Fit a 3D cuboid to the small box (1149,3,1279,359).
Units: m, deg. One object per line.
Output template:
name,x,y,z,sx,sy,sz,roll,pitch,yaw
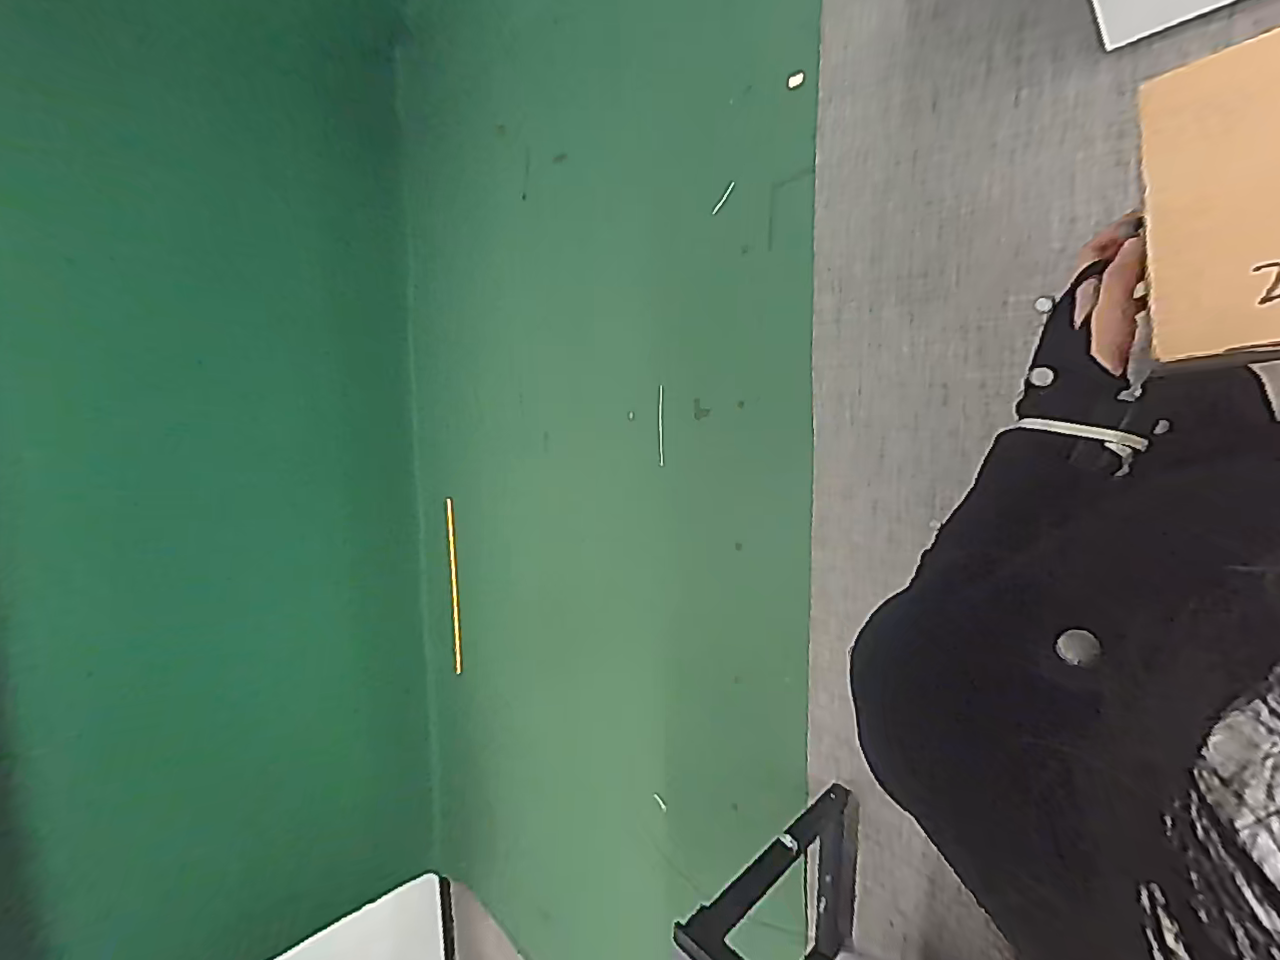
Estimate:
small box,0.432,-0.182,0.335,0.168,0.176,0.179,-5,92,45
